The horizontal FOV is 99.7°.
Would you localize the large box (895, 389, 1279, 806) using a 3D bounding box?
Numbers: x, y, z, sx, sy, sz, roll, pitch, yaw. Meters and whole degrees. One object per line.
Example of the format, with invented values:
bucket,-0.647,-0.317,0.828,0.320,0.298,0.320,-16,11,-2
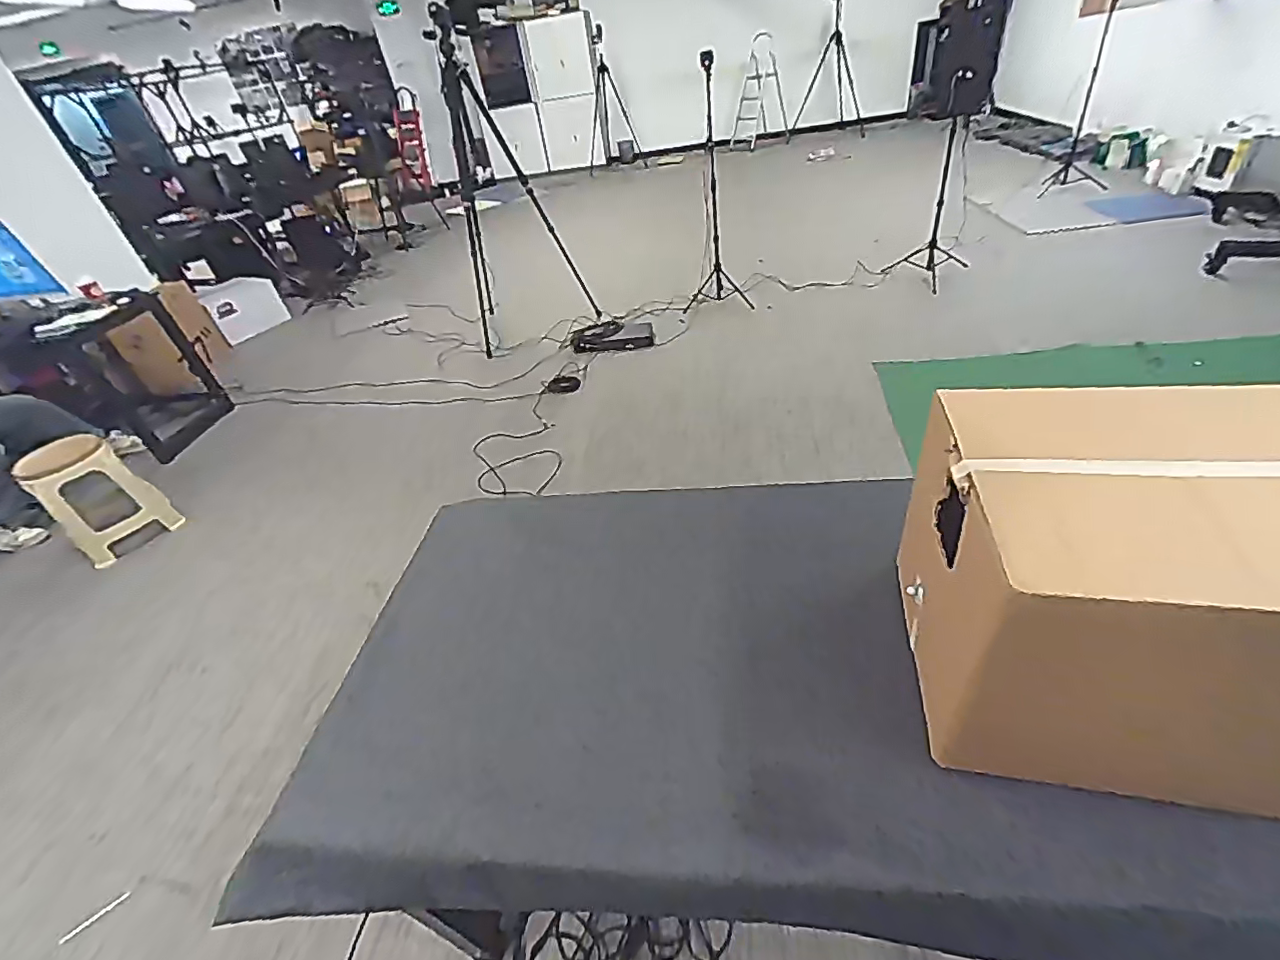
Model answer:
large box,0.535,0.111,0.581,0.408,0.320,0.320,2,40,14
